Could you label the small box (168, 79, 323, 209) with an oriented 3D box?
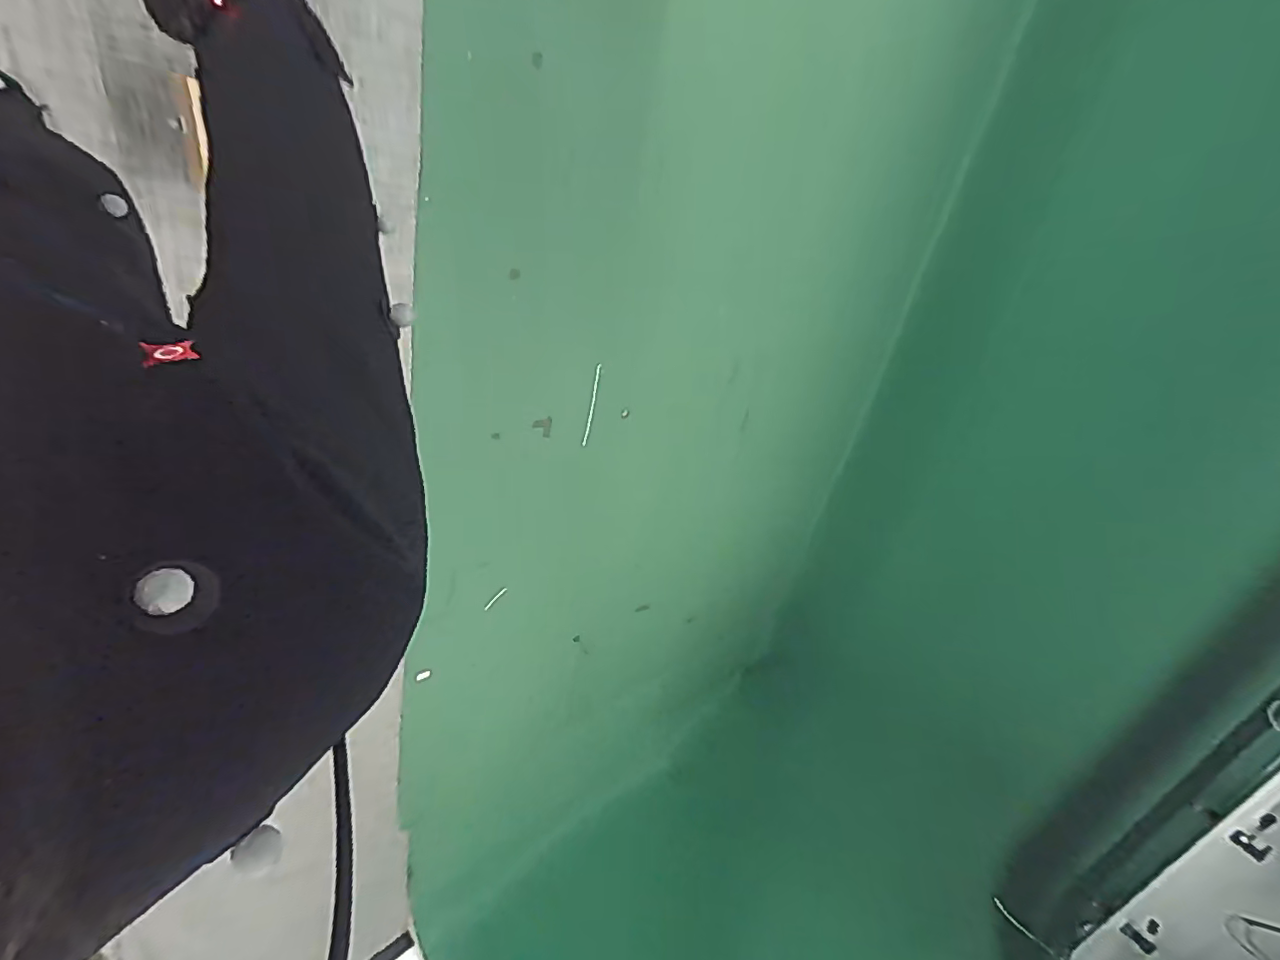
[{"bbox_3d":[-0.690,-0.590,0.953,0.179,0.176,0.168,-18,129,-41],"label":"small box"}]
